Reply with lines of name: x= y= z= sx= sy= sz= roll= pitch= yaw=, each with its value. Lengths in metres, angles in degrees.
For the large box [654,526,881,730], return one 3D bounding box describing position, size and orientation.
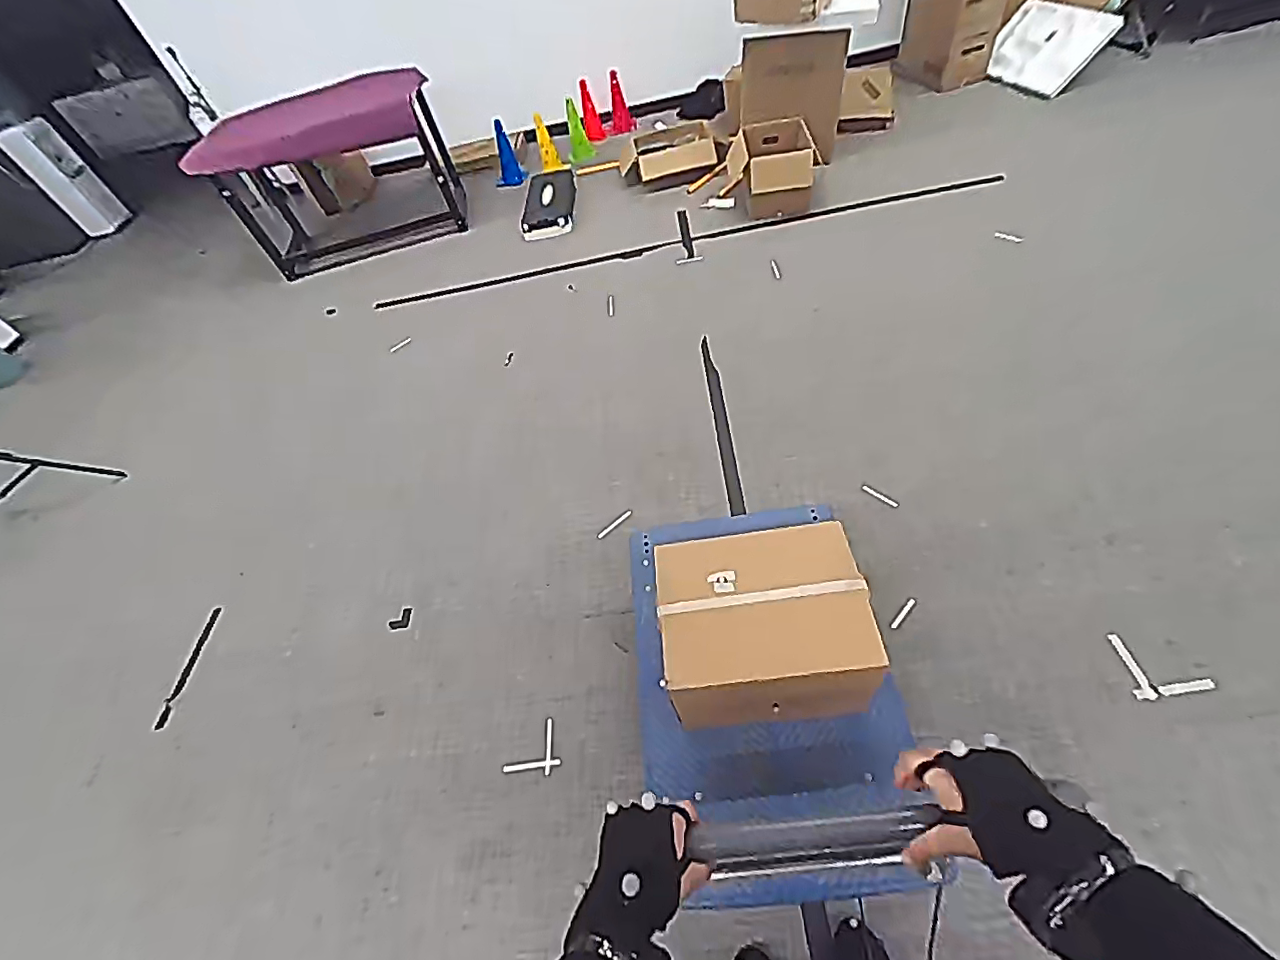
large box: x=0.265 y=0.342 z=1.210 sx=0.408 sy=0.320 sz=0.320 roll=-10 pitch=50 yaw=6
